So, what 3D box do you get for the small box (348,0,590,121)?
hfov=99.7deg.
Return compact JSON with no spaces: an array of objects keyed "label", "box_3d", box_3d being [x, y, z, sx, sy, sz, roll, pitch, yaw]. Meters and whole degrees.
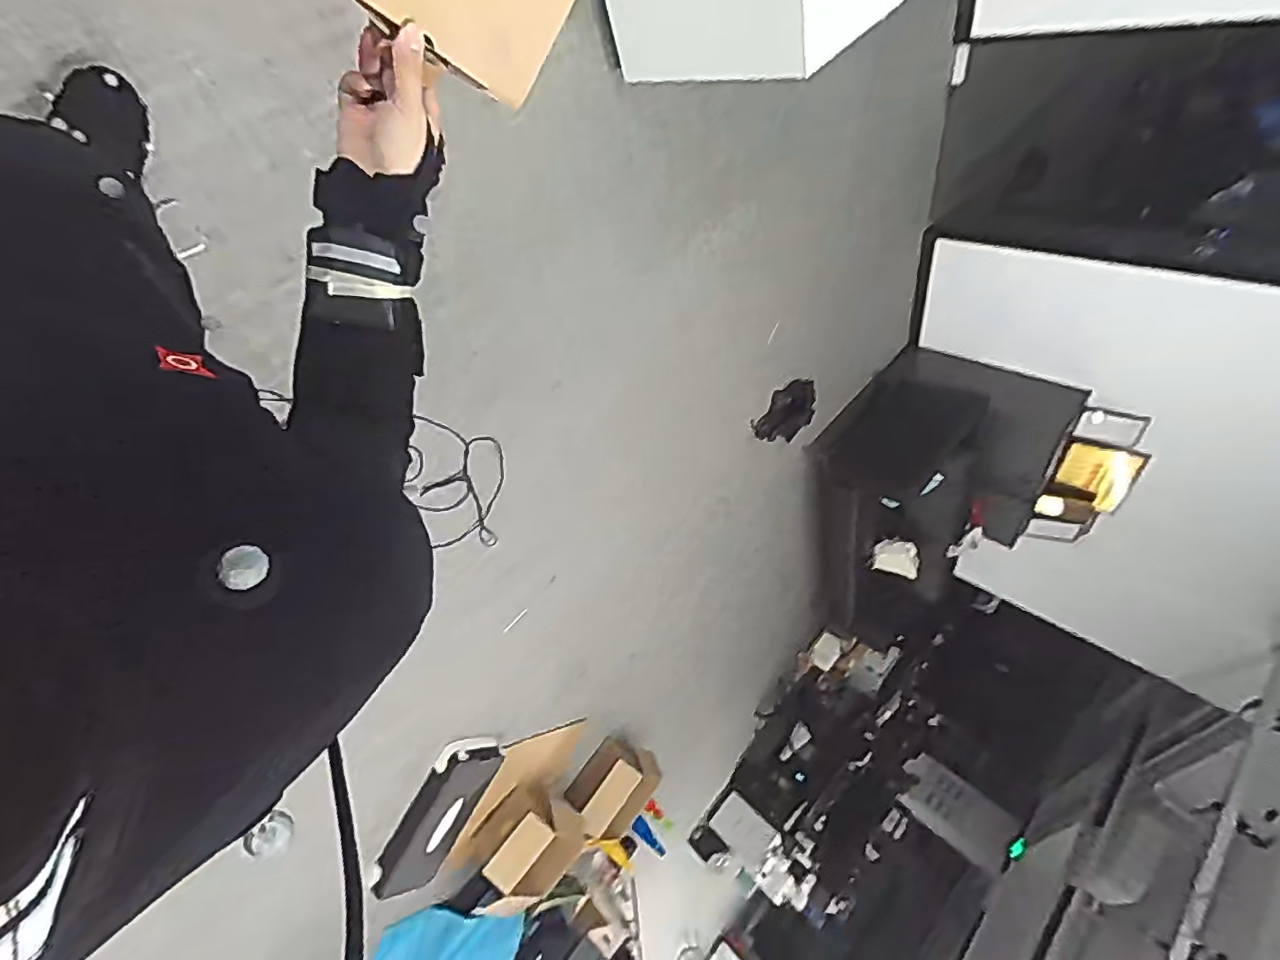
[{"label":"small box","box_3d":[-0.137,-0.414,0.383,0.168,0.176,0.179,4,132,-51]}]
